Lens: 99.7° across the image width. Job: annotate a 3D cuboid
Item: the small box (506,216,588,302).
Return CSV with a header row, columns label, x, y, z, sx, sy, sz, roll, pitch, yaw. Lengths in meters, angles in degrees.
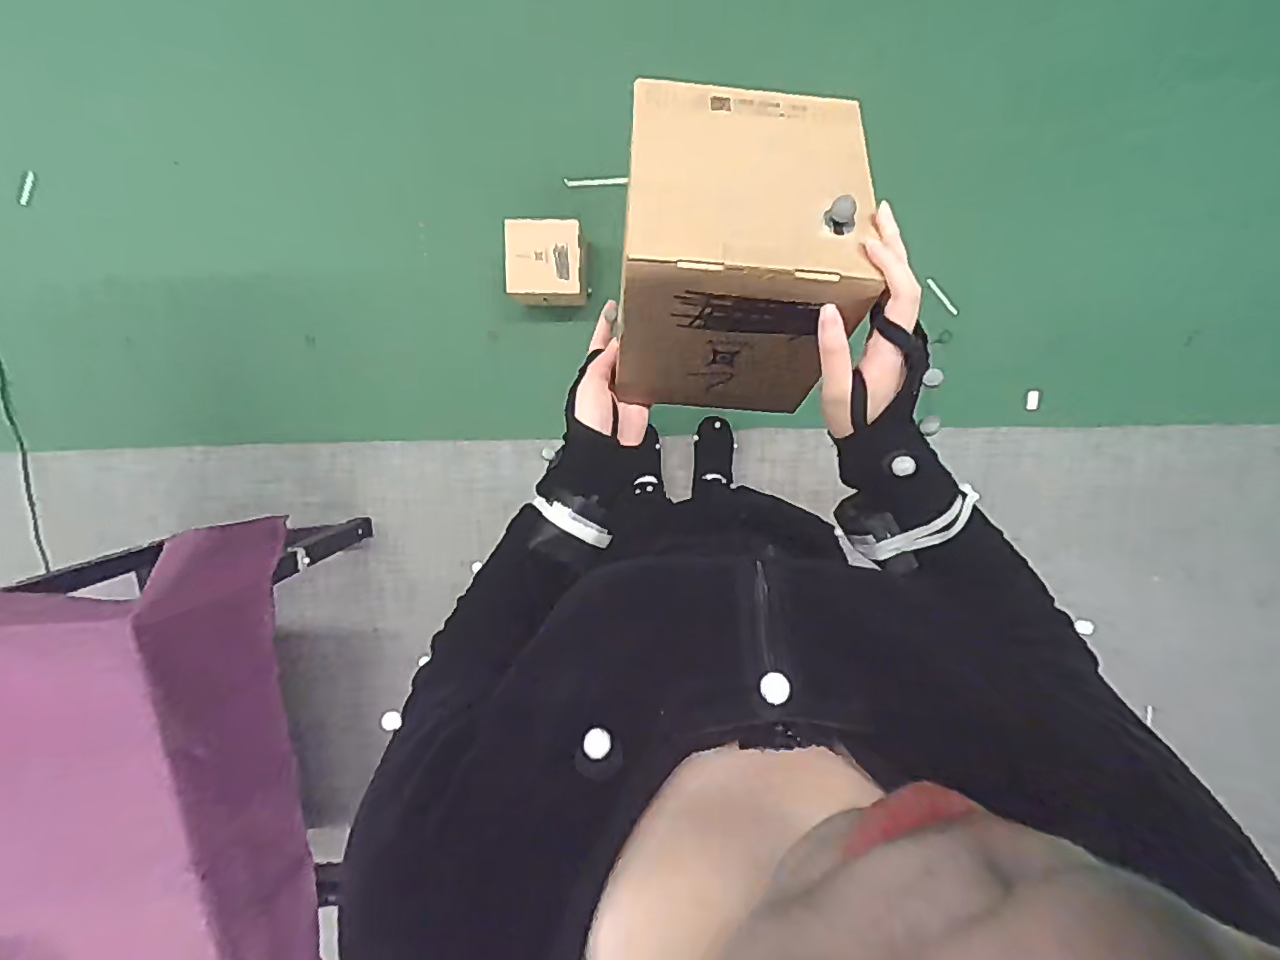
label,x,y,z,sx,sy,sz,roll,pitch,yaw
small box,-0.223,-0.539,1.333,0.179,0.176,0.168,1,99,2
